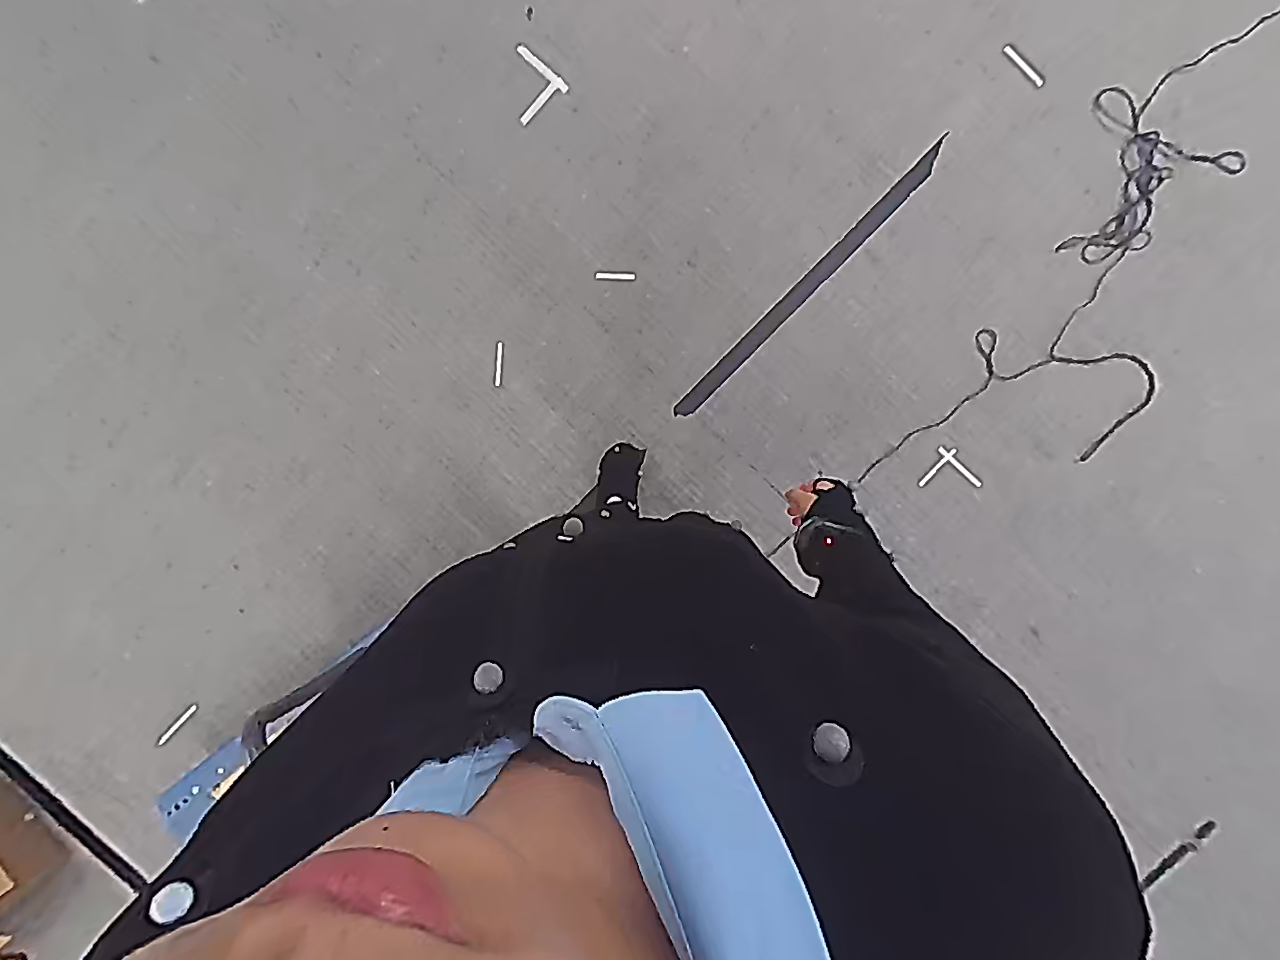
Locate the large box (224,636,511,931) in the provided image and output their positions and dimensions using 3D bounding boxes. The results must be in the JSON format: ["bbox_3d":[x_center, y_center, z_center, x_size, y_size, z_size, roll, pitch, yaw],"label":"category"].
[{"bbox_3d":[-0.559,0.629,1.189,0.320,0.320,0.408,-41,90,0],"label":"large box"}]
